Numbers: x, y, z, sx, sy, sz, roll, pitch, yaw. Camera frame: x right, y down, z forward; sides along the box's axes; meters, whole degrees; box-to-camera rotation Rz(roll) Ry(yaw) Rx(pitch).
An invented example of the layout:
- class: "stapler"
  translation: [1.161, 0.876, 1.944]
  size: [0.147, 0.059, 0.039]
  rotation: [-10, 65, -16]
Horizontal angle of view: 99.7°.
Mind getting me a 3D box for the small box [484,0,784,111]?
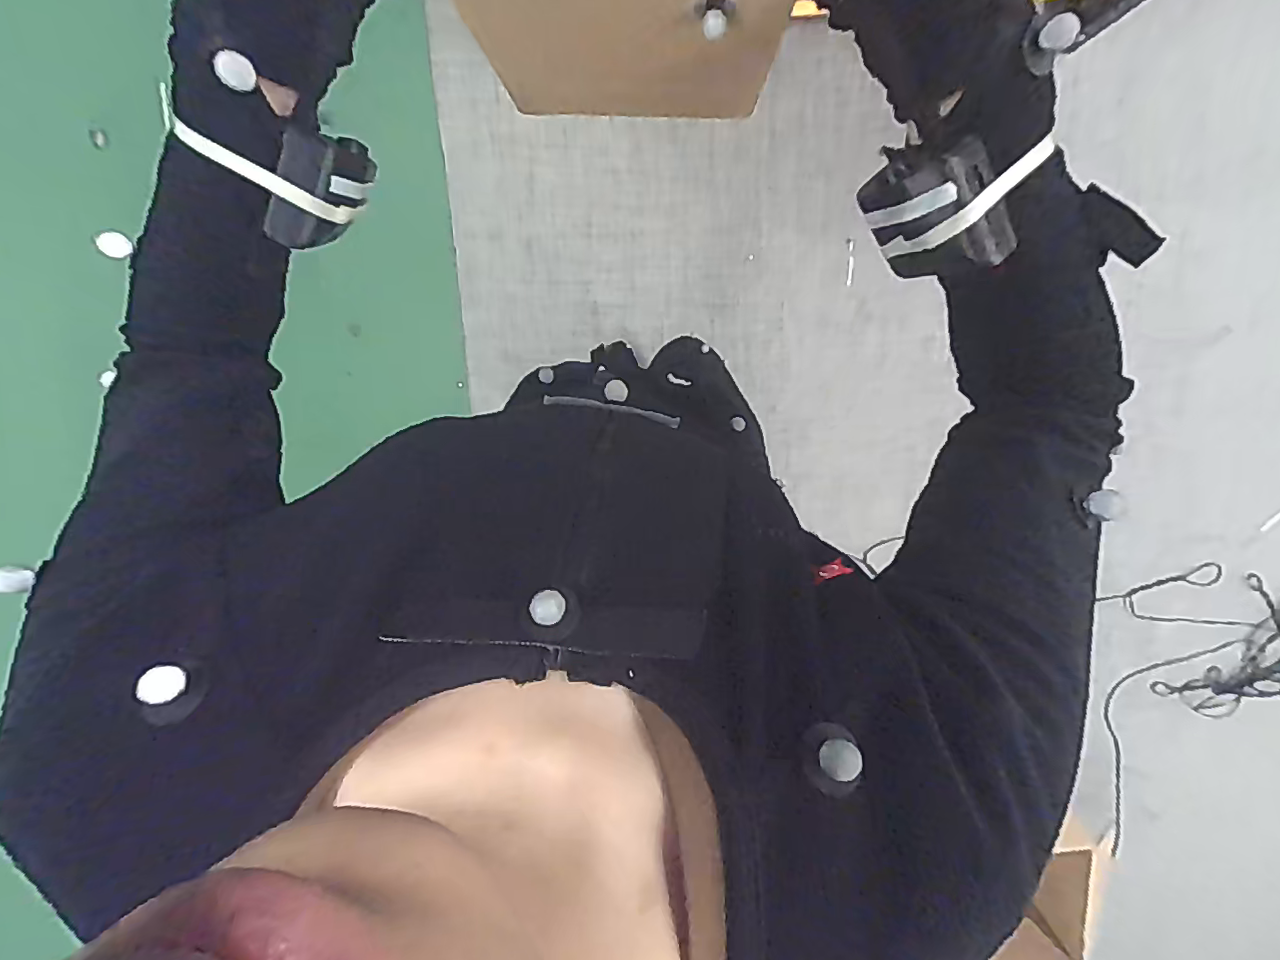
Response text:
- class: "small box"
  translation: [-0.003, -0.335, 0.305]
  size: [0.179, 0.176, 0.168]
  rotation: [2, 104, 0]
